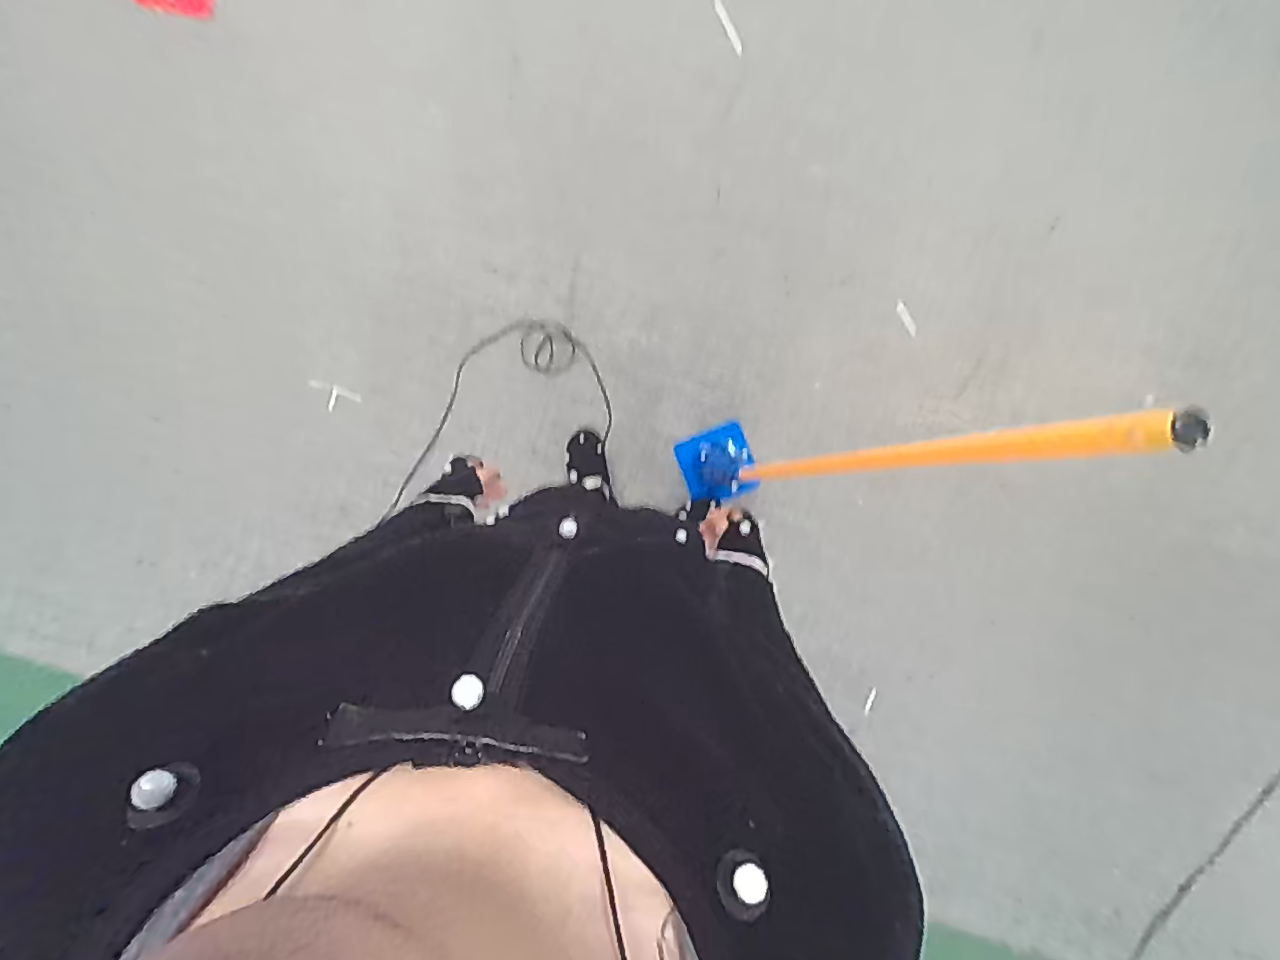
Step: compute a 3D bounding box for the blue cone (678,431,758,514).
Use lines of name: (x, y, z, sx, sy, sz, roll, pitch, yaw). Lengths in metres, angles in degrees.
blue cone: (0.219, -0.012, 1.316, 0.193, 0.380, 0.192, -23, 95, -1)
